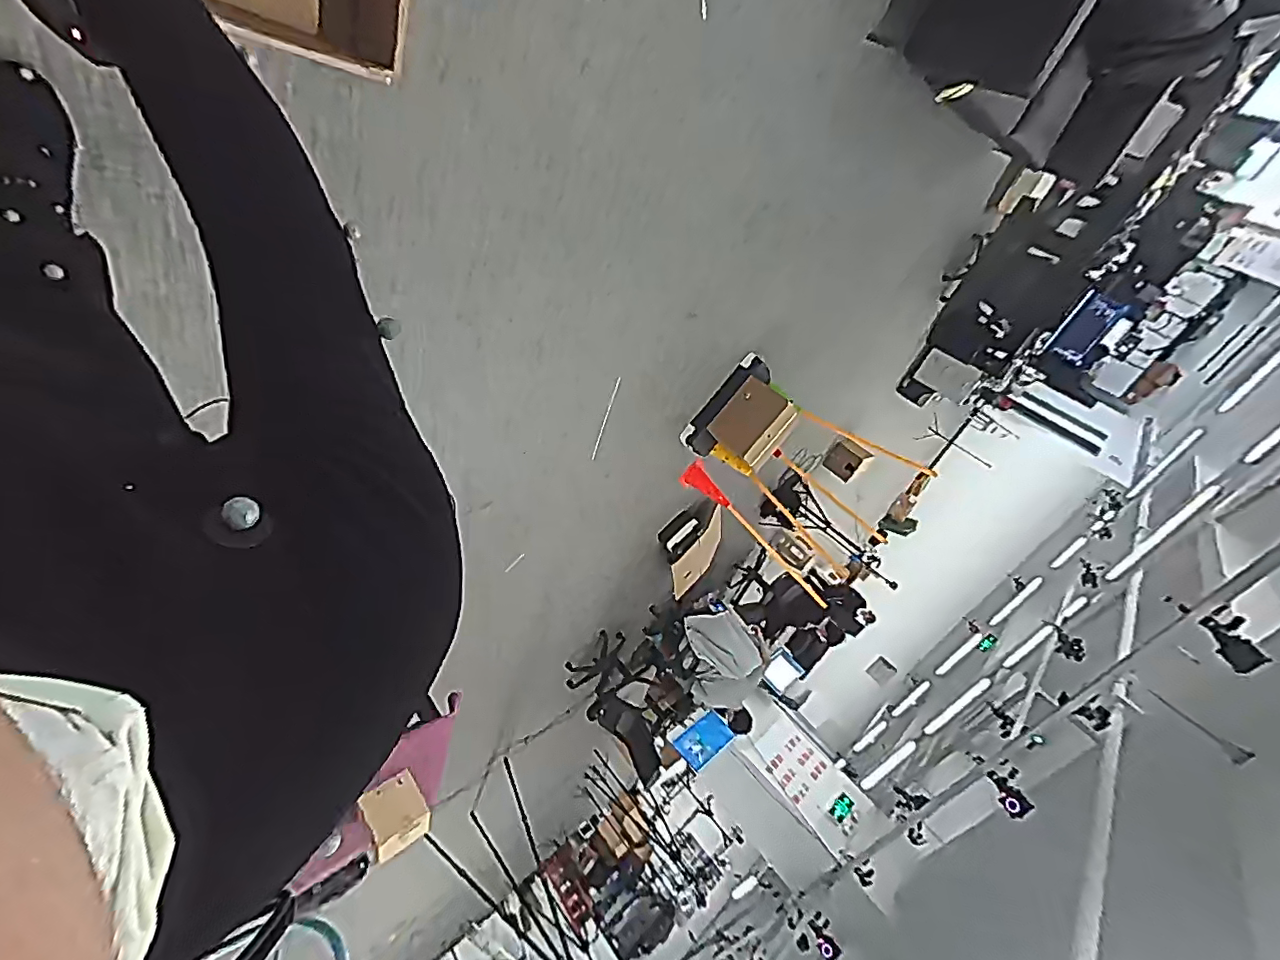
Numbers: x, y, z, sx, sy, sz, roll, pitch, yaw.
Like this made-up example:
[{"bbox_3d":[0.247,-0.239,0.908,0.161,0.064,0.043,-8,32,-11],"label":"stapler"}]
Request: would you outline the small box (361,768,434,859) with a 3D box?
[{"bbox_3d":[-0.798,1.083,1.772,0.168,0.176,0.179,-20,143,-41],"label":"small box"}]
